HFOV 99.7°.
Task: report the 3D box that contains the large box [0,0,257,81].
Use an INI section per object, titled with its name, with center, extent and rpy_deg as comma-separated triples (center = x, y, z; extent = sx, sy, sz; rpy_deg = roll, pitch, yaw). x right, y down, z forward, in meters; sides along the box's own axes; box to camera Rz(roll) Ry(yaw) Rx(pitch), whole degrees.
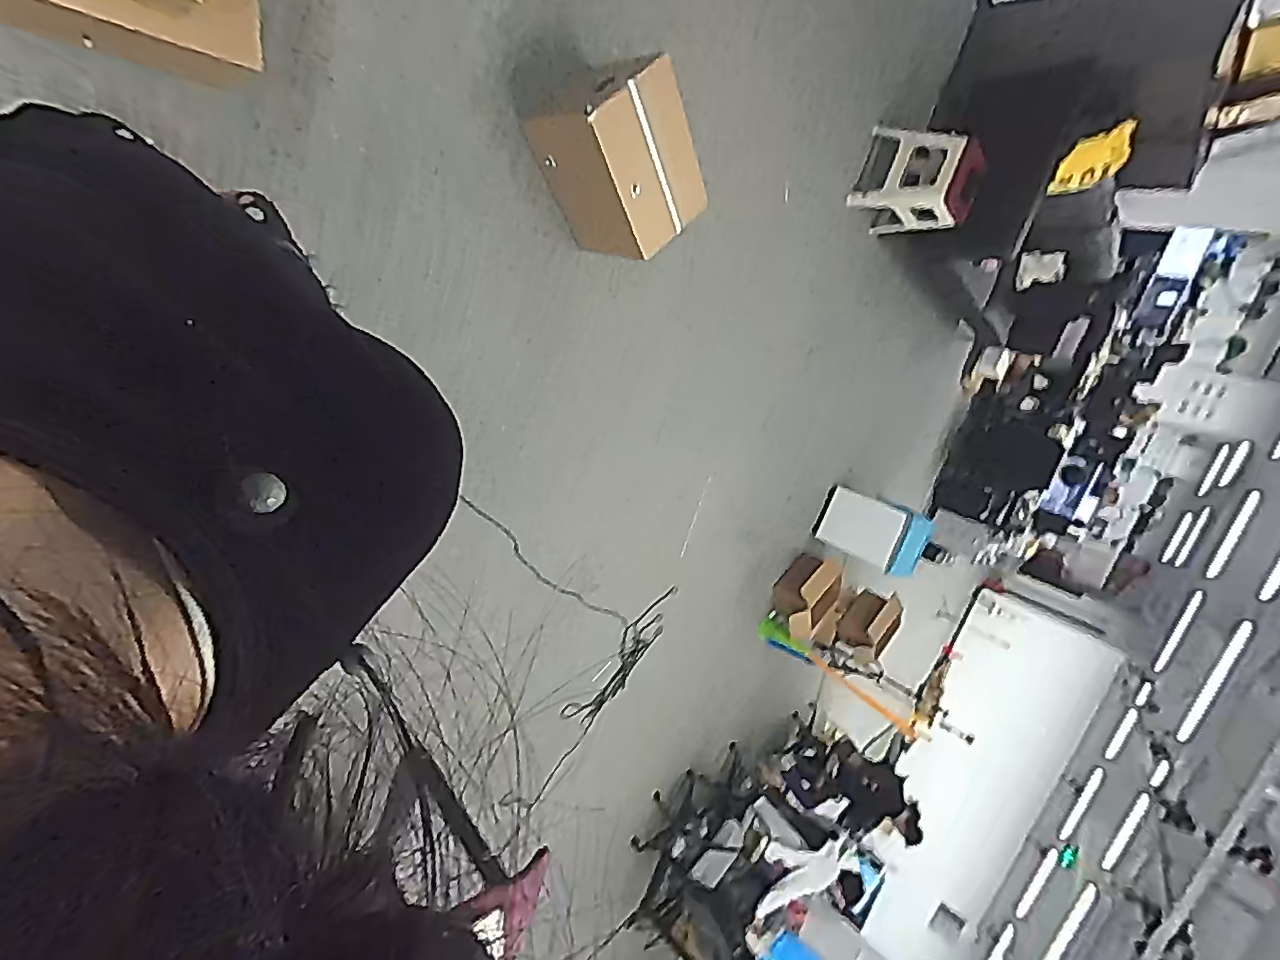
[large box]
center = -0.833, -0.832, 0.776
extent = 0.408, 0.320, 0.320
rpy_deg = -10, 118, -44

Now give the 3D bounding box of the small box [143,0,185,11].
[small box]
center = -0.649, -0.716, 0.651
extent = 0.168, 0.176, 0.179
rpy_deg = -4, 115, -48
